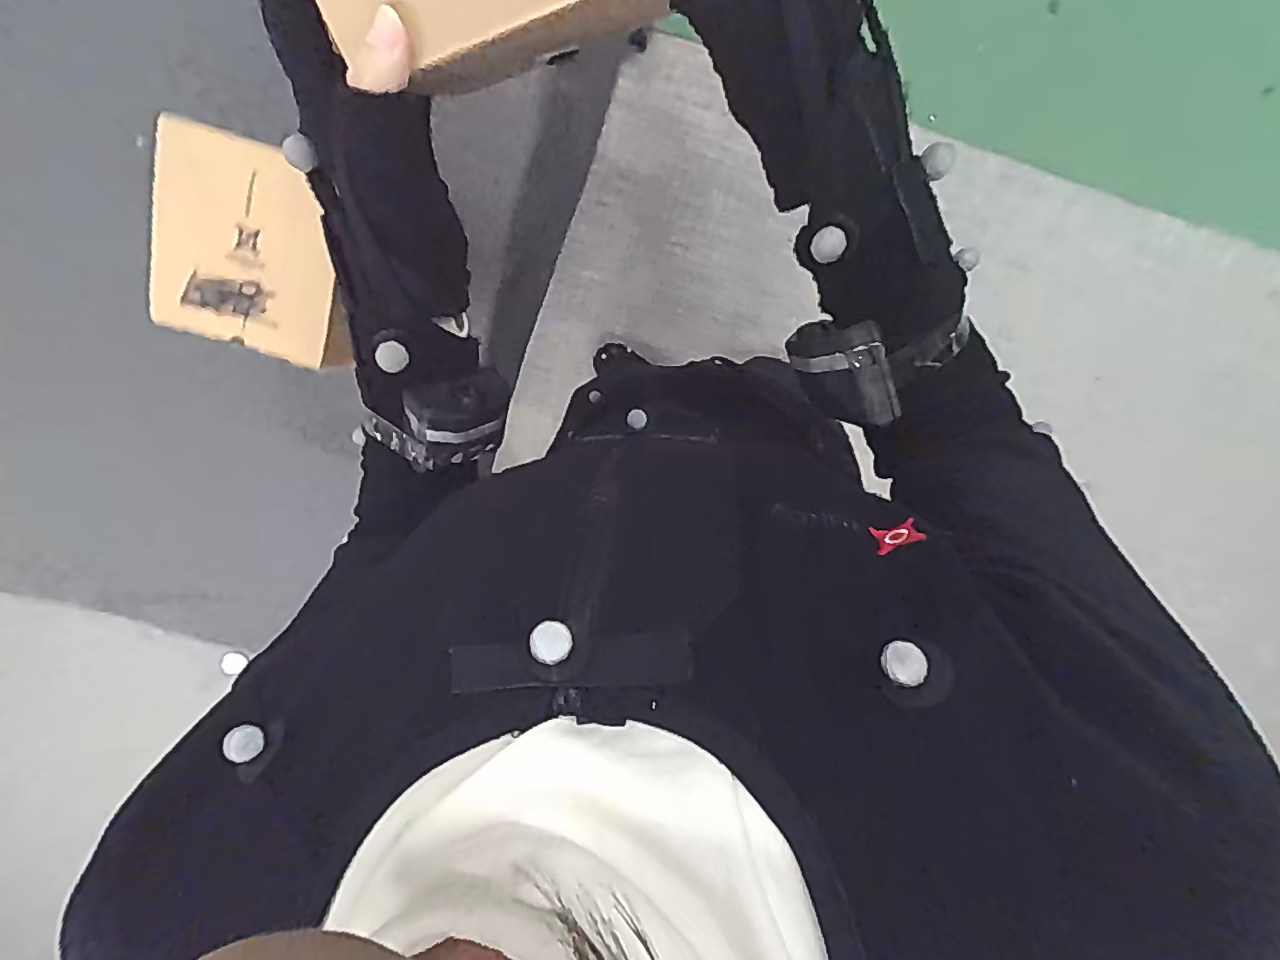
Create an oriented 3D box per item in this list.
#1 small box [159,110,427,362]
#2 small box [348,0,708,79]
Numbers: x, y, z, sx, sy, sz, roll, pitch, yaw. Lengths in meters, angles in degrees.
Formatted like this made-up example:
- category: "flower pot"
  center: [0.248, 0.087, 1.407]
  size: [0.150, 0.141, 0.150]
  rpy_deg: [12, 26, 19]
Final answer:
- category: "small box"
  center: [-0.343, -0.234, 0.561]
  size: [0.168, 0.176, 0.179]
  rpy_deg: [16, 105, -2]
- category: "small box"
  center: [-0.050, -0.298, 0.227]
  size: [0.168, 0.176, 0.179]
  rpy_deg: [-13, 124, 10]
